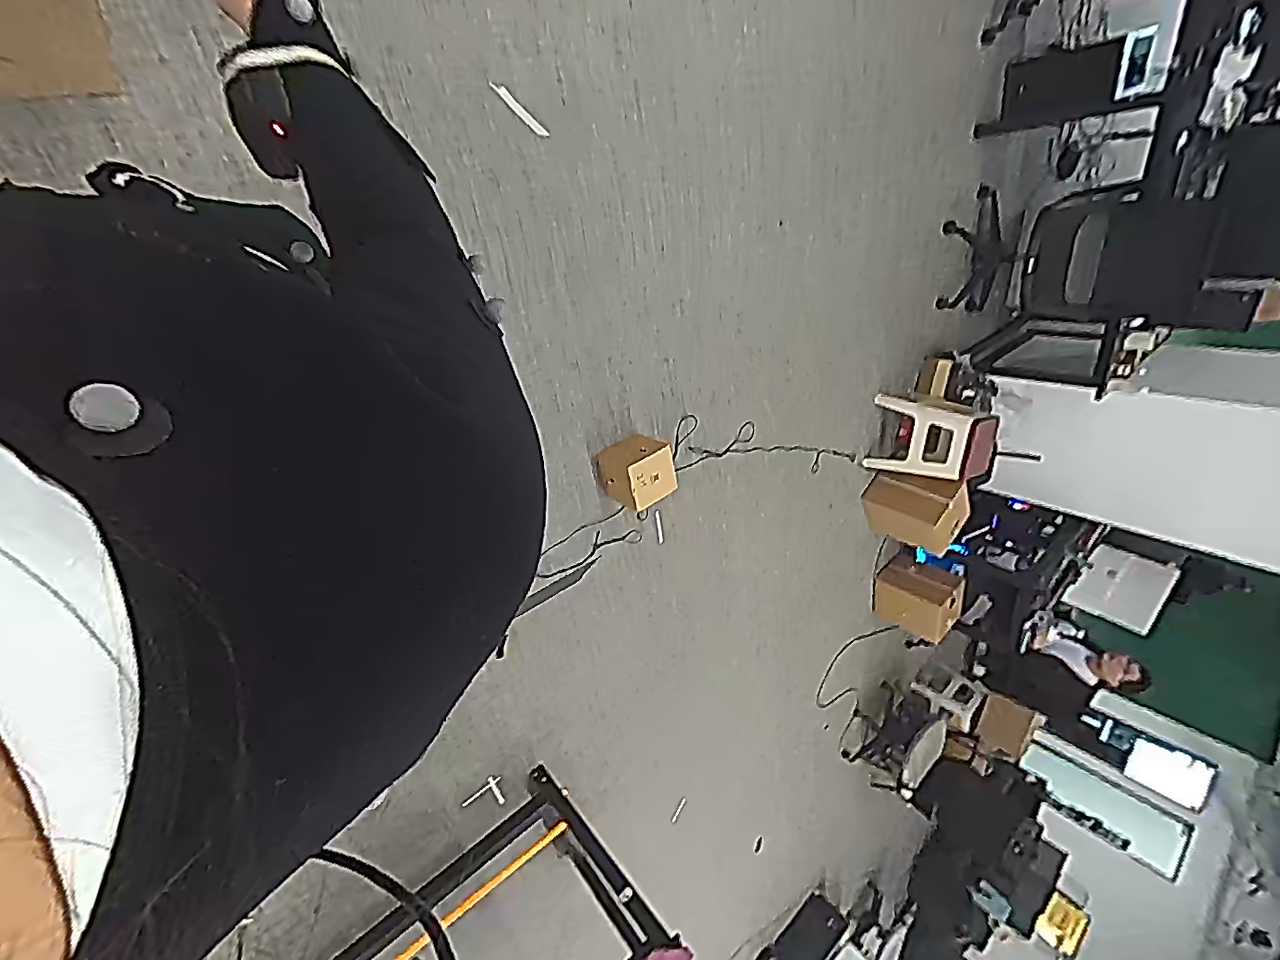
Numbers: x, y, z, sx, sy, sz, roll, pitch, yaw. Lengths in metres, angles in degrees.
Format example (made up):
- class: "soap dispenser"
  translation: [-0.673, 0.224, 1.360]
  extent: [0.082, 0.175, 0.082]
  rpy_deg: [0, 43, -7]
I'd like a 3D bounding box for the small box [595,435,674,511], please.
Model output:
- class: "small box"
  translation: [-0.018, -0.030, 1.742]
  extent: [0.179, 0.176, 0.168]
  rpy_deg: [-30, 123, -29]
